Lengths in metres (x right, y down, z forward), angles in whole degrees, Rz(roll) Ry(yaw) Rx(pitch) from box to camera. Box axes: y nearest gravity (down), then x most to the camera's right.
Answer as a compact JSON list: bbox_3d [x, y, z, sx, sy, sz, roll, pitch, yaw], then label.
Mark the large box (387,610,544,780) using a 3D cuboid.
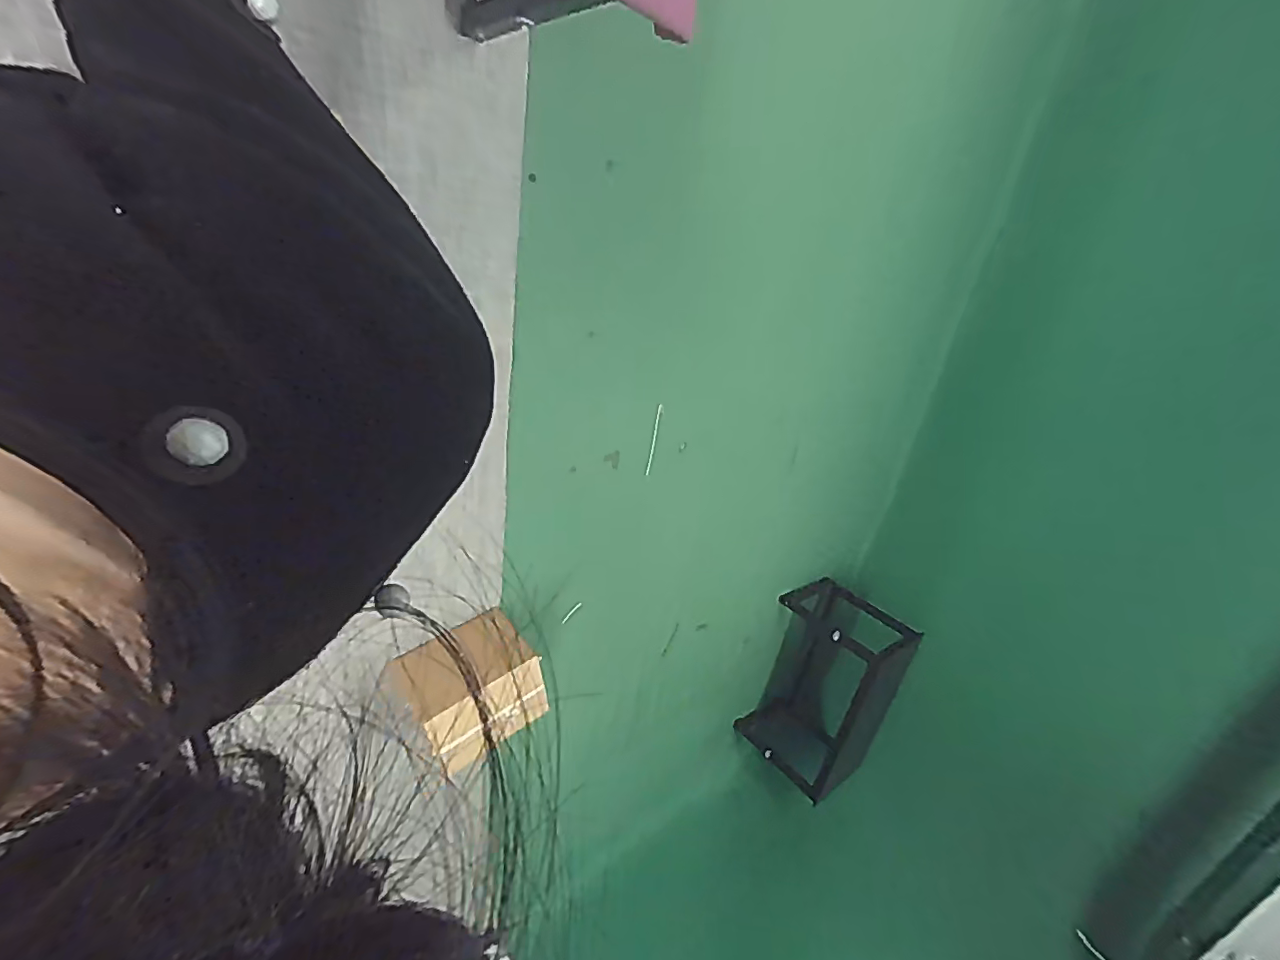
[{"bbox_3d":[-0.609,0.743,1.918,0.408,0.320,0.320,-26,130,-32],"label":"large box"}]
